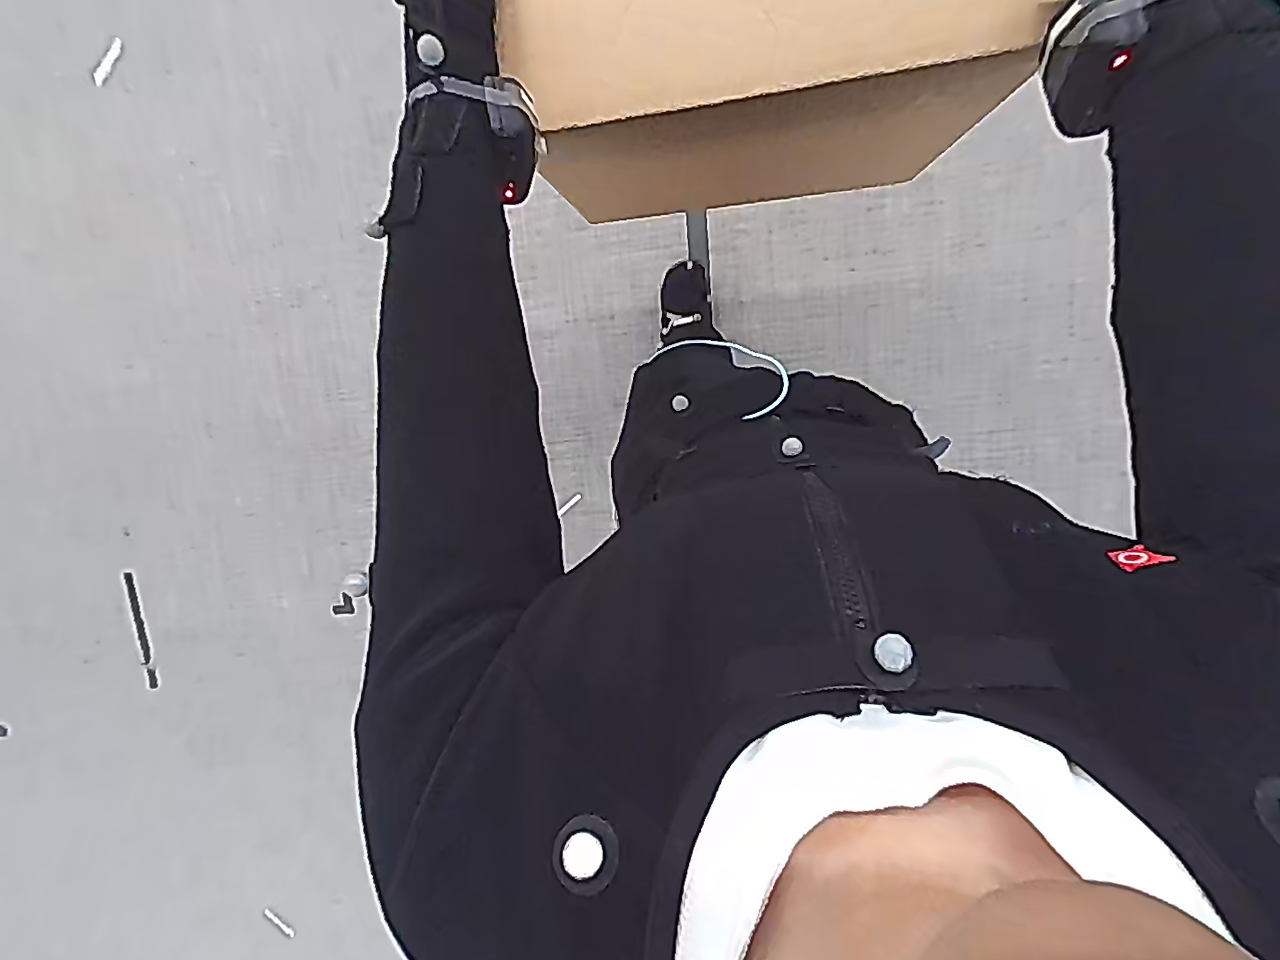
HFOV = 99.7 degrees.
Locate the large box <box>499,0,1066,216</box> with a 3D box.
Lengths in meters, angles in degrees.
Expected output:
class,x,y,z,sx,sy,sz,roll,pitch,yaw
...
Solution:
class,x,y,z,sx,sy,sz,roll,pitch,yaw
large box,0.096,-0.476,0.510,0.408,0.320,0.320,-5,103,8
